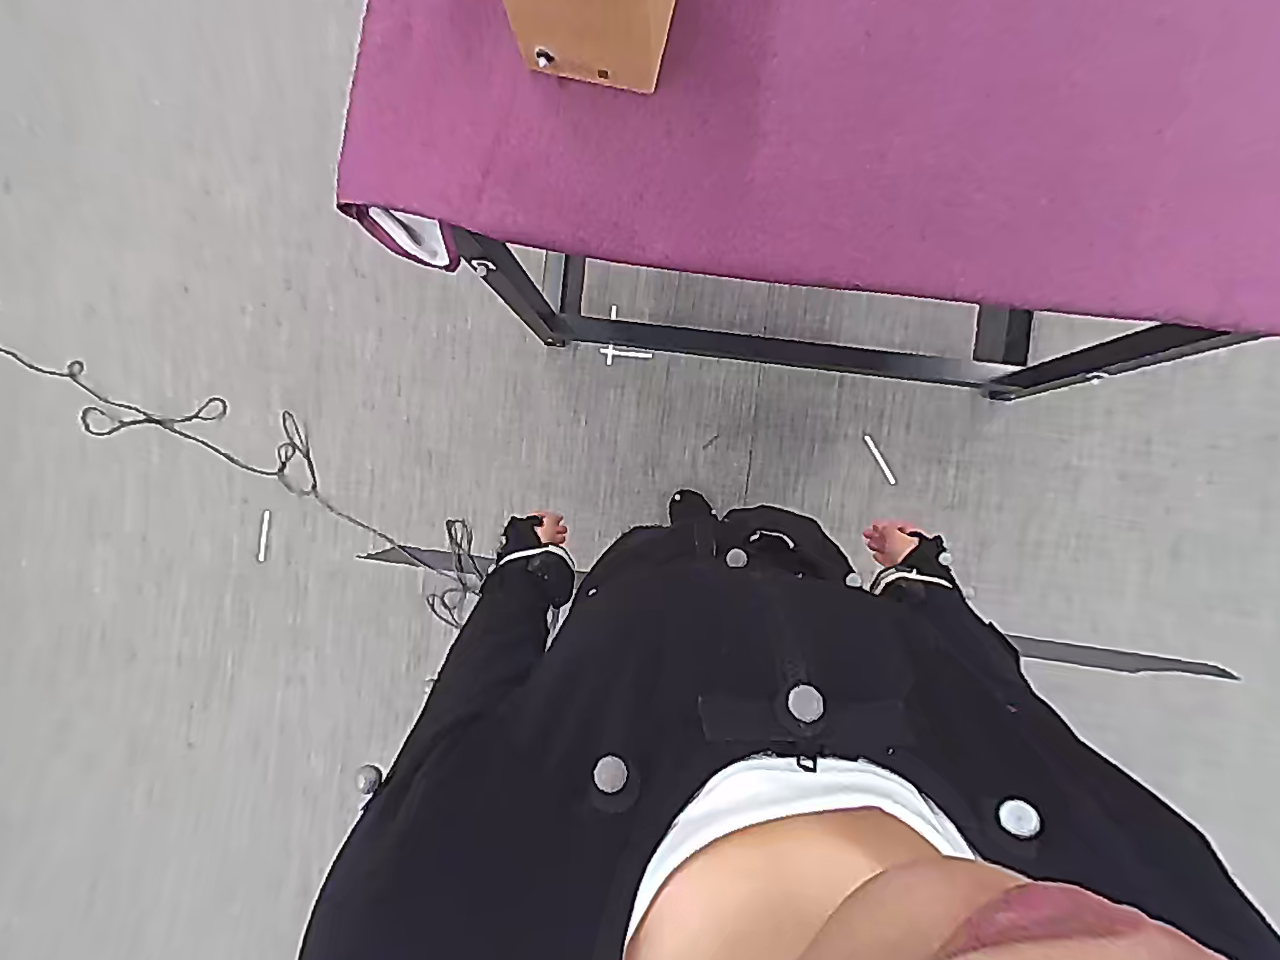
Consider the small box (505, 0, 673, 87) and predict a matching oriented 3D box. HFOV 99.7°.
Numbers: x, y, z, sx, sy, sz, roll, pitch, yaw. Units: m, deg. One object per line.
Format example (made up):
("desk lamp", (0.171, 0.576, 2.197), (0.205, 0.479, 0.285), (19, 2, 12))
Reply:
("small box", (-0.048, -0.577, 0.588), (0.168, 0.176, 0.179), (13, 91, 3))
